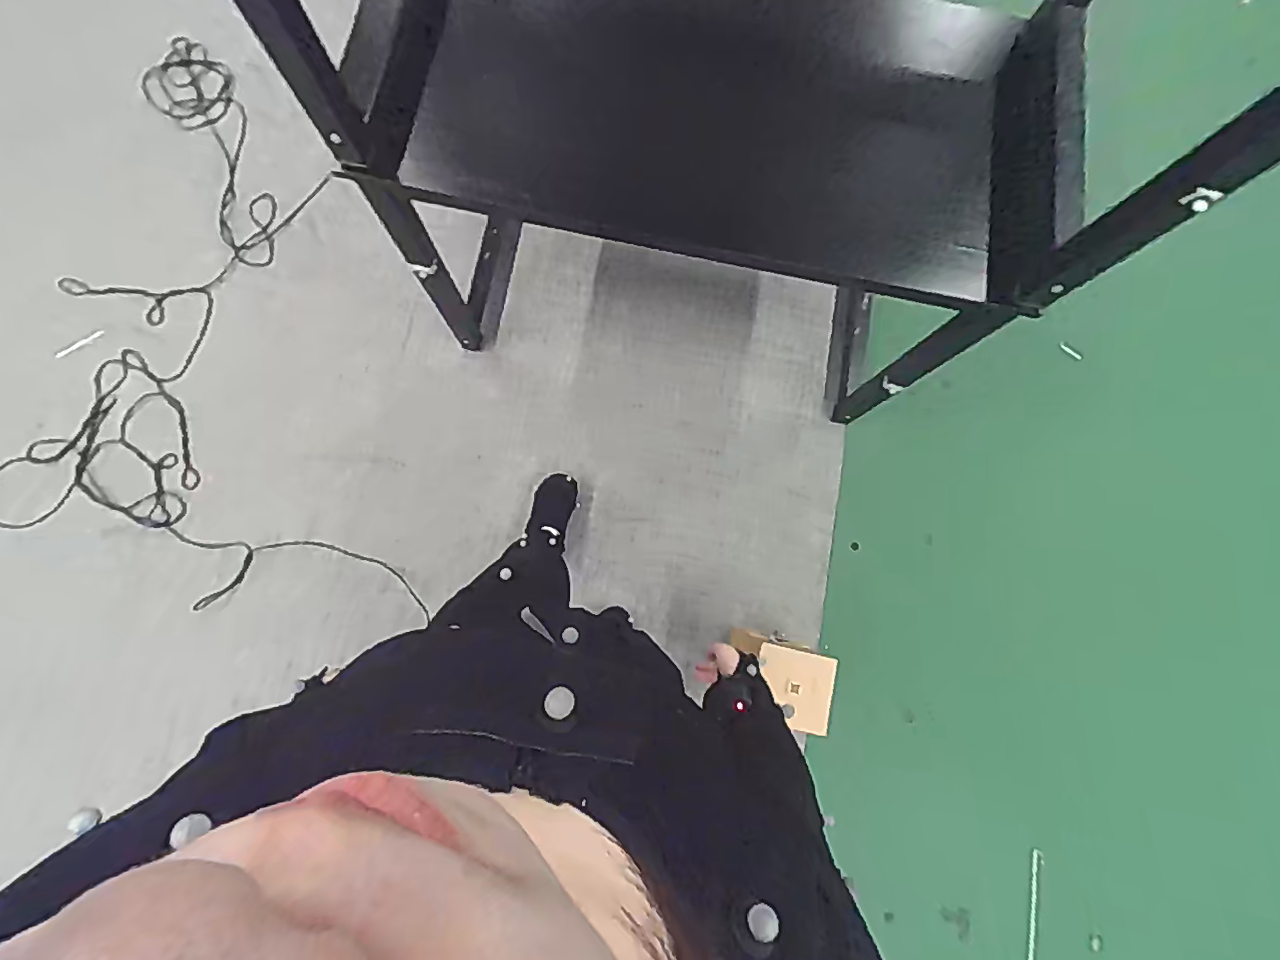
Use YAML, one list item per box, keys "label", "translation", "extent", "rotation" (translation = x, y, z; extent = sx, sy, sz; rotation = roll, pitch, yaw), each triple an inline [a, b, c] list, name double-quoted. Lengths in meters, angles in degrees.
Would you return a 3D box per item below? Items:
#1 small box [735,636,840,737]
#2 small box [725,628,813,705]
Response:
- label: "small box"
  translation: [0.329, 0.463, 1.241]
  extent: [0.179, 0.176, 0.168]
  rotation: [13, 81, -1]
- label: "small box"
  translation: [0.328, 0.492, 1.399]
  extent: [0.168, 0.176, 0.179]
  rotation: [14, 81, -1]
